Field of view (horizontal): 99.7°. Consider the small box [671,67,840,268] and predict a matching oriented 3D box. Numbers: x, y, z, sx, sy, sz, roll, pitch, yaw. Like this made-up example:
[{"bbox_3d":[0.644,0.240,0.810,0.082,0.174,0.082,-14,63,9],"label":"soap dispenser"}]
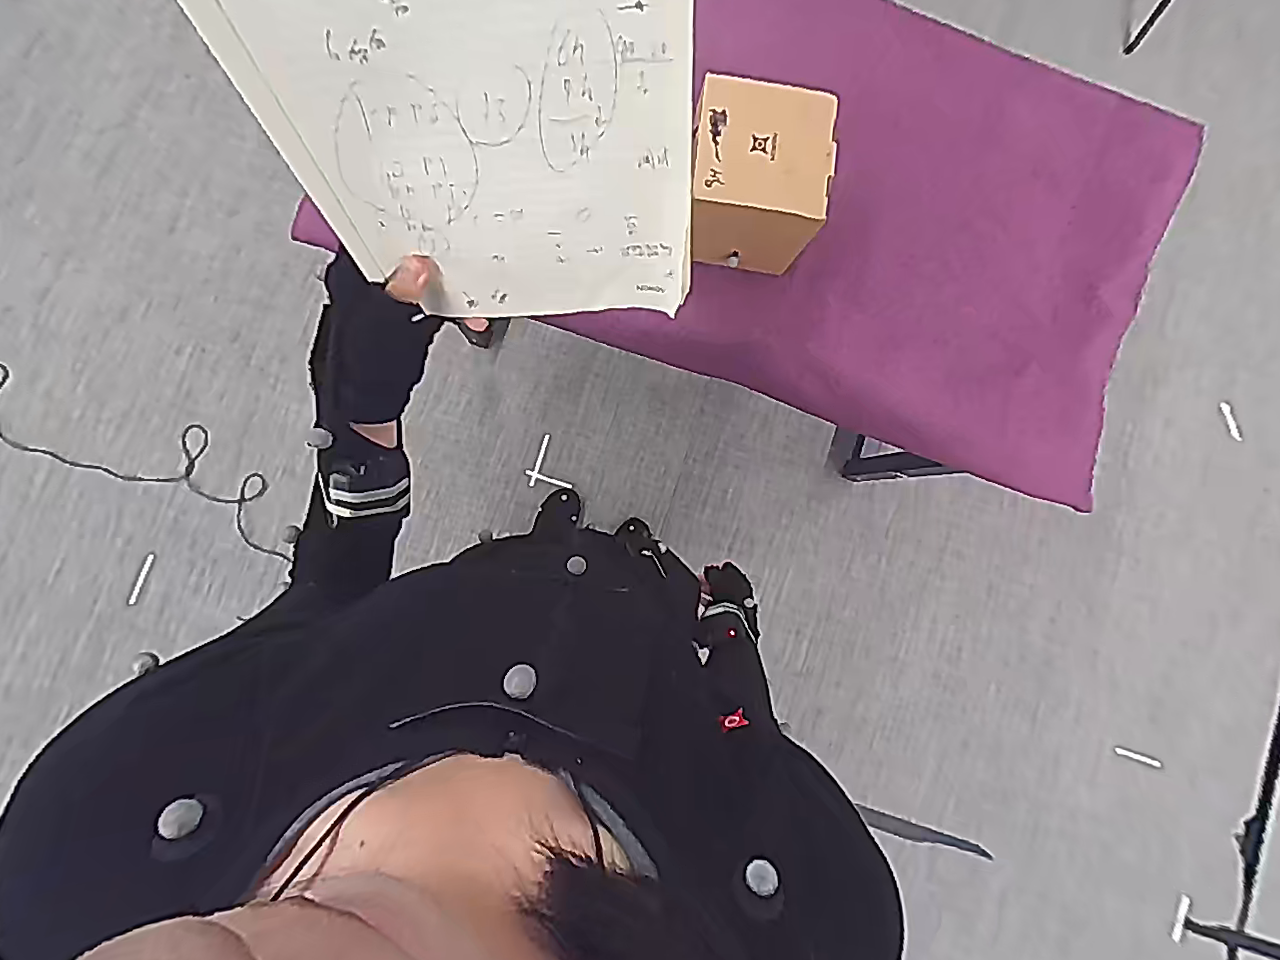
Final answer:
[{"bbox_3d":[0.150,-0.416,0.752,0.179,0.176,0.168,7,86,-5],"label":"small box"}]
